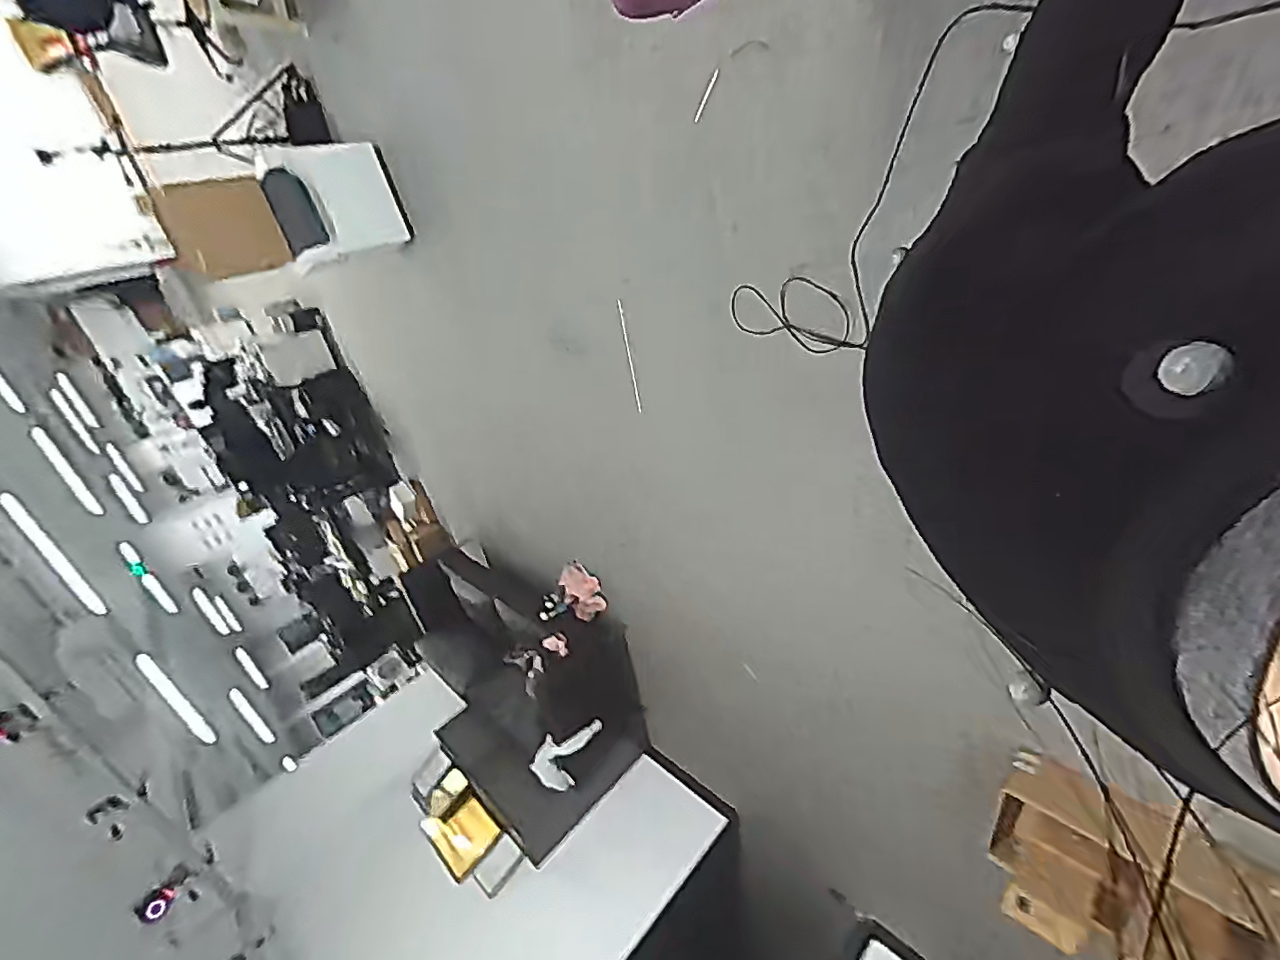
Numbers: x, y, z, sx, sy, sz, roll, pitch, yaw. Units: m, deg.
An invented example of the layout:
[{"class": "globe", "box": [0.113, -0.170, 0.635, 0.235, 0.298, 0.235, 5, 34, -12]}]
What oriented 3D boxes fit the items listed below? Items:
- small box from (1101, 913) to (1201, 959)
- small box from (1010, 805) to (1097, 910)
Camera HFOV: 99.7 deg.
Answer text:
[{"class": "small box", "box": [1.347, 1.313, 1.430, 0.168, 0.176, 0.179, 22, 130, 40]}, {"class": "small box", "box": [1.288, 1.164, 1.682, 0.179, 0.176, 0.168, 17, 126, 41]}]
